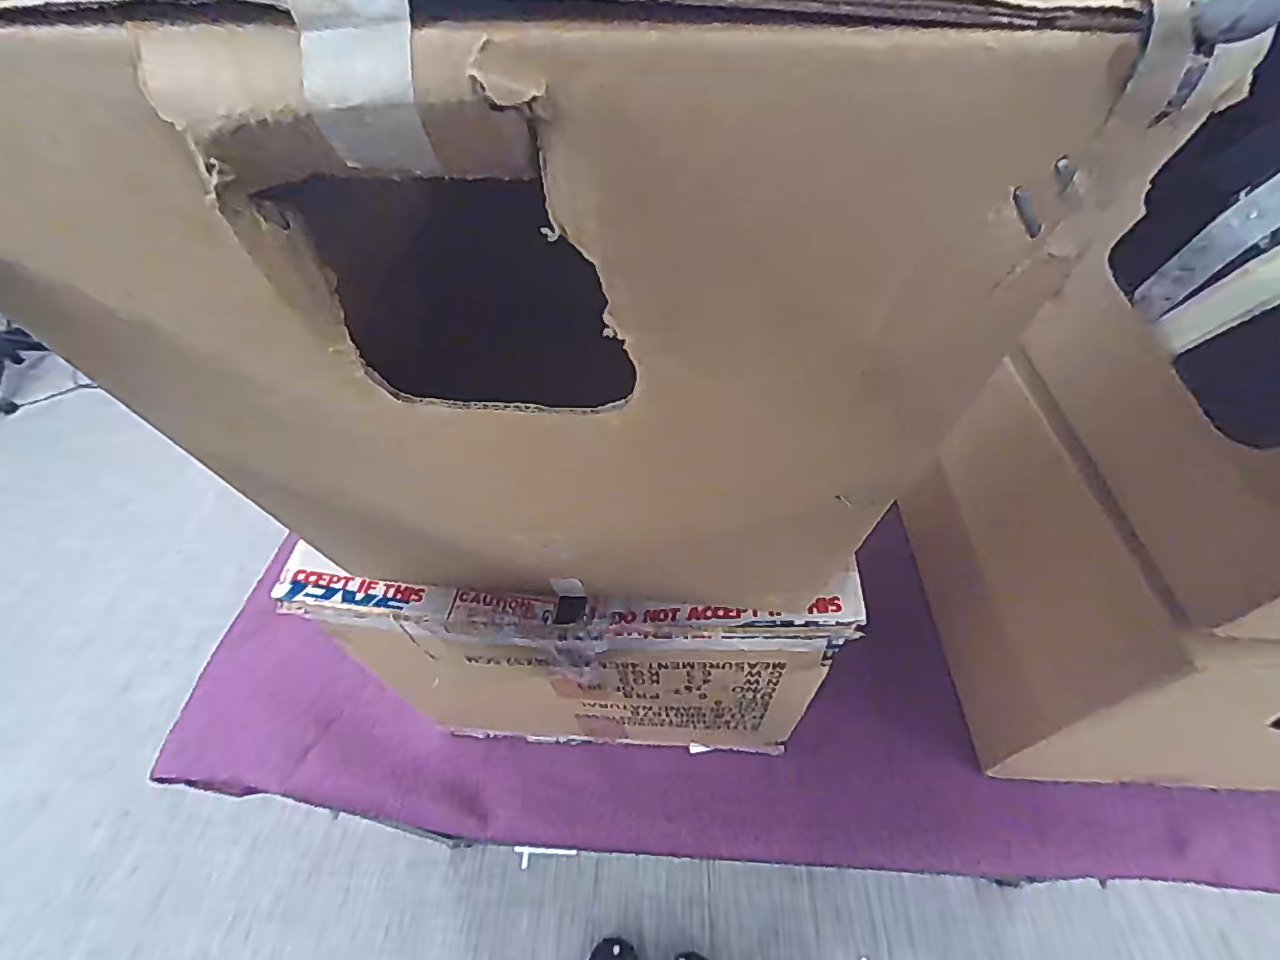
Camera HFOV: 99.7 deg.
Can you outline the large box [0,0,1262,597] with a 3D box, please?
[{"bbox_3d":[-0.022,-0.175,0.334,0.320,0.320,0.408,2,60,4],"label":"large box"}]
